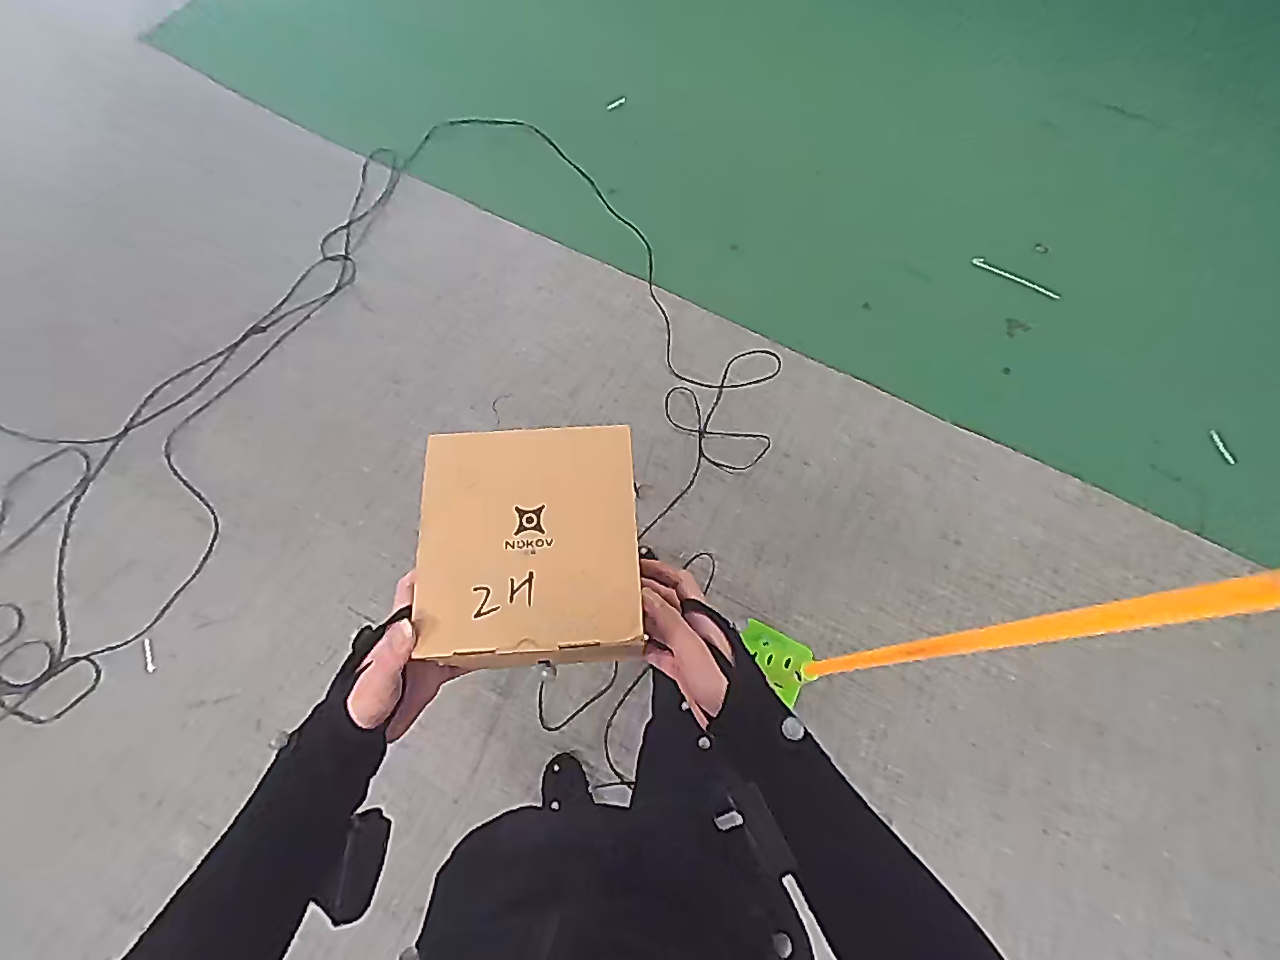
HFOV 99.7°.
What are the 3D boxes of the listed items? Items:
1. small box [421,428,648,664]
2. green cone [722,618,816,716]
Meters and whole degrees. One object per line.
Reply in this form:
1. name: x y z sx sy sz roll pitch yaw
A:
1. small box: -0.081 0.068 0.494 0.168 0.176 0.179 -2 69 -2
2. green cone: 0.346 0.440 1.282 0.202 0.368 0.200 27 72 8
